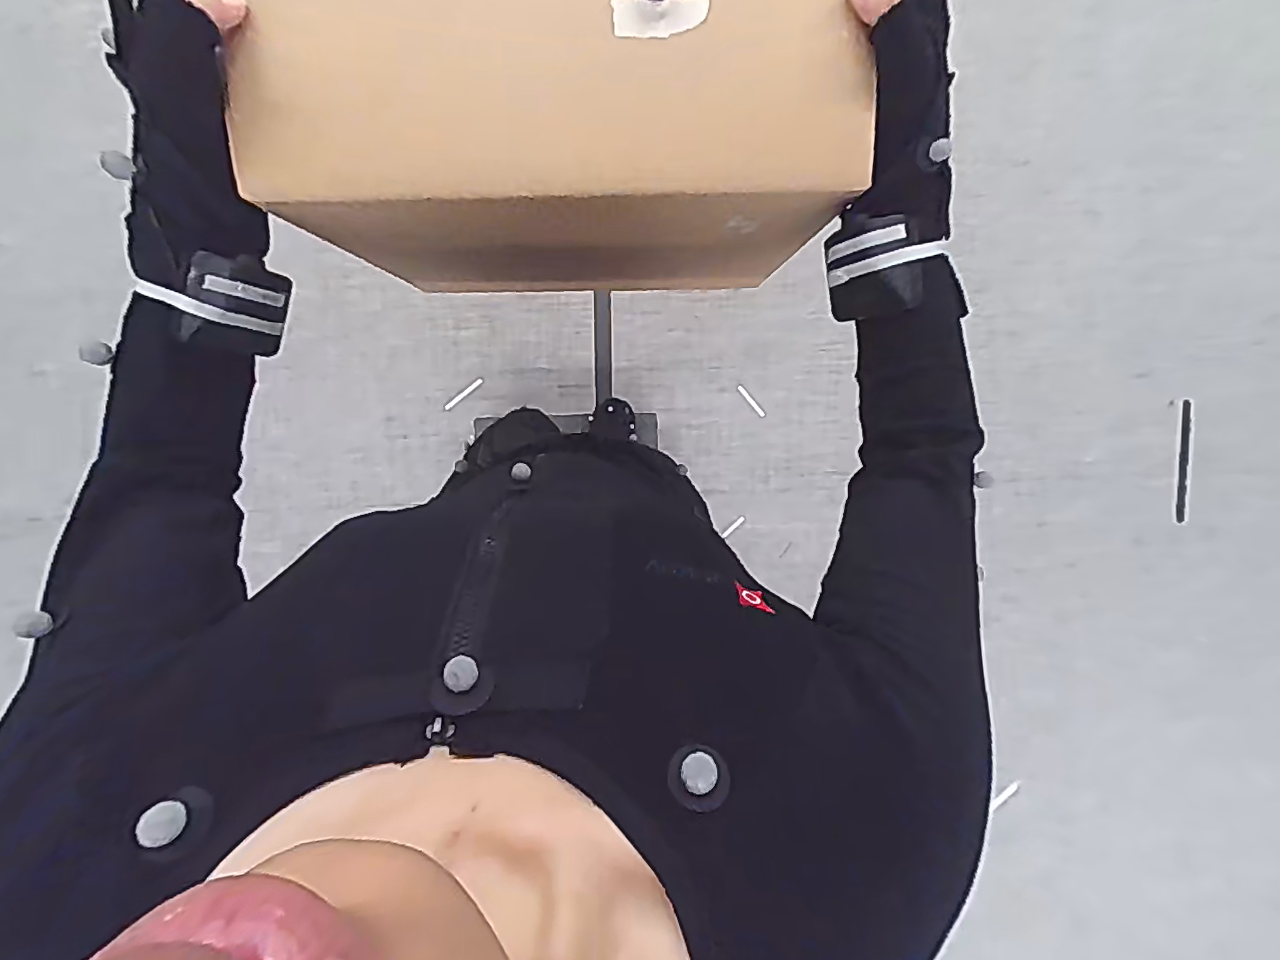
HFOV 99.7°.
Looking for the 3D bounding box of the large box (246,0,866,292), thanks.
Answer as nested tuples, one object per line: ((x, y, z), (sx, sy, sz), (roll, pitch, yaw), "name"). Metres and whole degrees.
((-0.057, -0.367, 0.488), (0.408, 0.320, 0.320), (-2, 99, -1), "large box")
